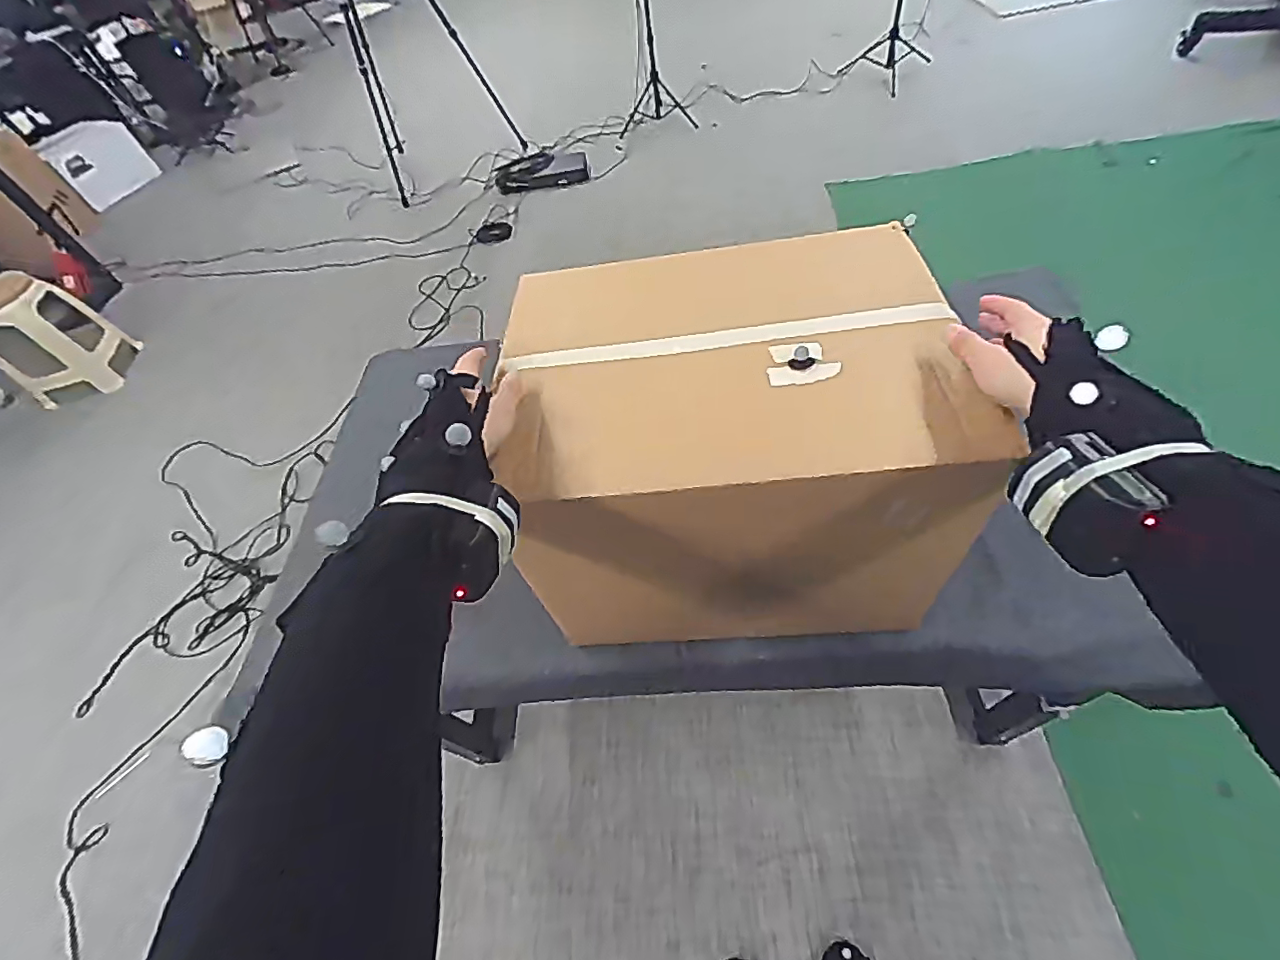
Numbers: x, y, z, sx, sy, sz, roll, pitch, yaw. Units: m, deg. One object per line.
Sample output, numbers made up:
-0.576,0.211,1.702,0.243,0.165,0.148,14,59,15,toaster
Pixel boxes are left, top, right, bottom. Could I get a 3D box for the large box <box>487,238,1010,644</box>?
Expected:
0.089,-0.028,0.614,0.408,0.320,0.320,-5,52,6,large box
